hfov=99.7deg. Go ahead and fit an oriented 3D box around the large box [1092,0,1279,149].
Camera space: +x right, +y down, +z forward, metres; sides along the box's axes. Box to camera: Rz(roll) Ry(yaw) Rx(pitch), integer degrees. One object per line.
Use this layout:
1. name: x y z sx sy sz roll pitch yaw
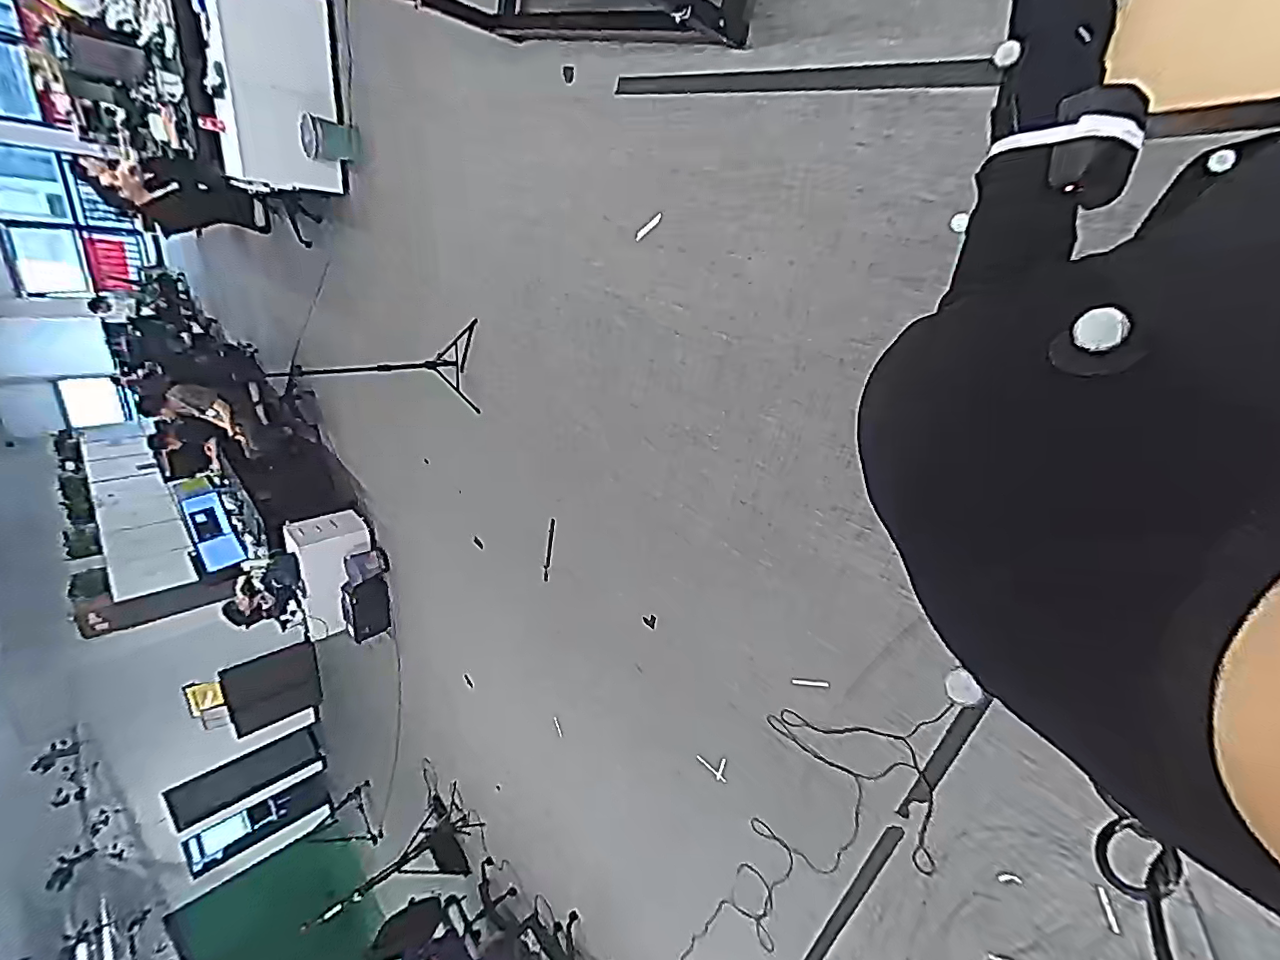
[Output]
1. large box: 0.581 -0.415 0.333 0.408 0.320 0.320 18 124 36
